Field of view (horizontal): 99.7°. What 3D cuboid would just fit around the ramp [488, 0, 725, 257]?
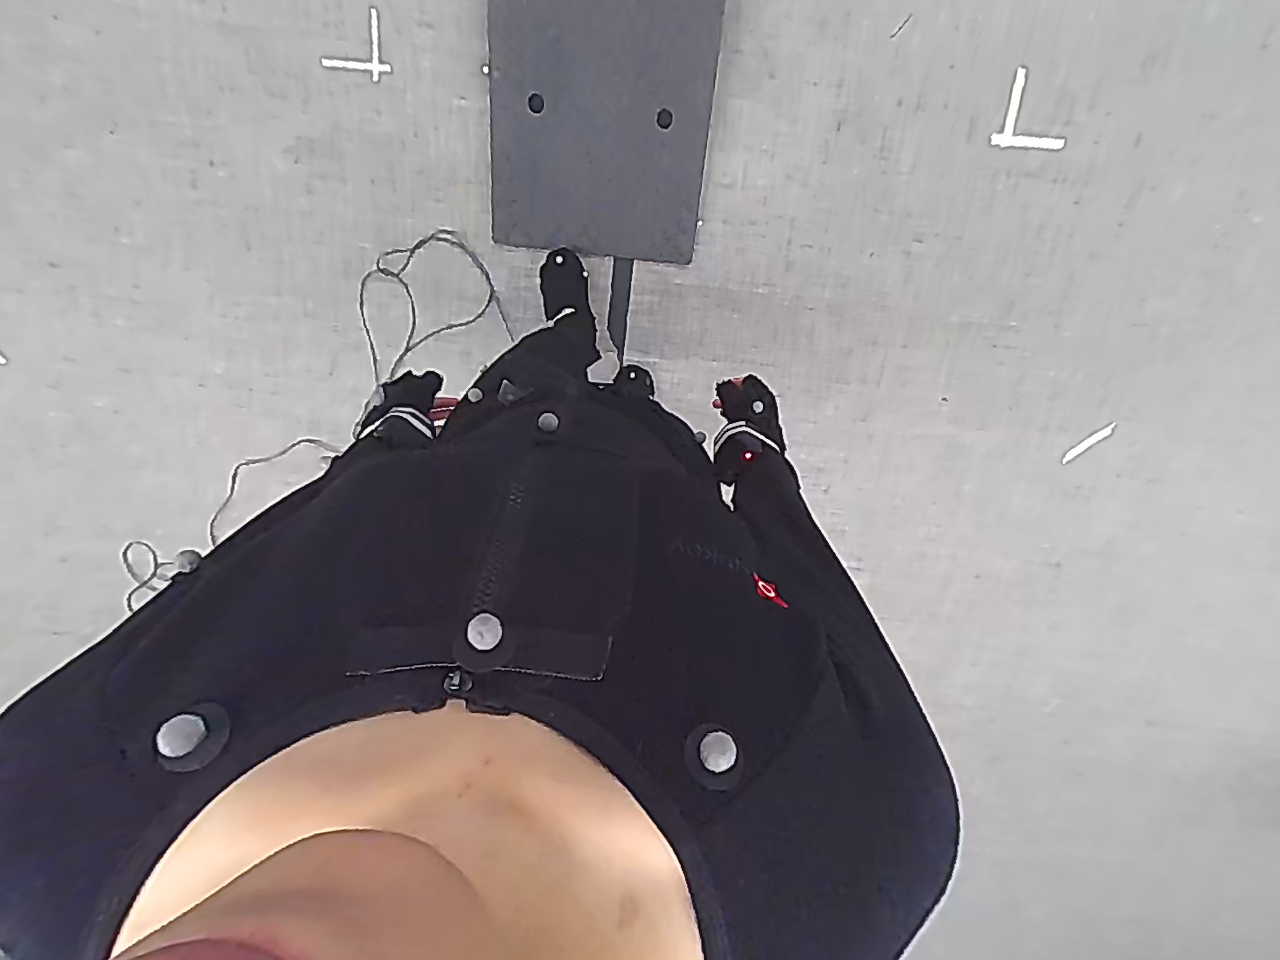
[{"bbox_3d":[-0.065,-1.011,1.104,0.509,0.206,0.991,3,107,-3],"label":"ramp"}]
